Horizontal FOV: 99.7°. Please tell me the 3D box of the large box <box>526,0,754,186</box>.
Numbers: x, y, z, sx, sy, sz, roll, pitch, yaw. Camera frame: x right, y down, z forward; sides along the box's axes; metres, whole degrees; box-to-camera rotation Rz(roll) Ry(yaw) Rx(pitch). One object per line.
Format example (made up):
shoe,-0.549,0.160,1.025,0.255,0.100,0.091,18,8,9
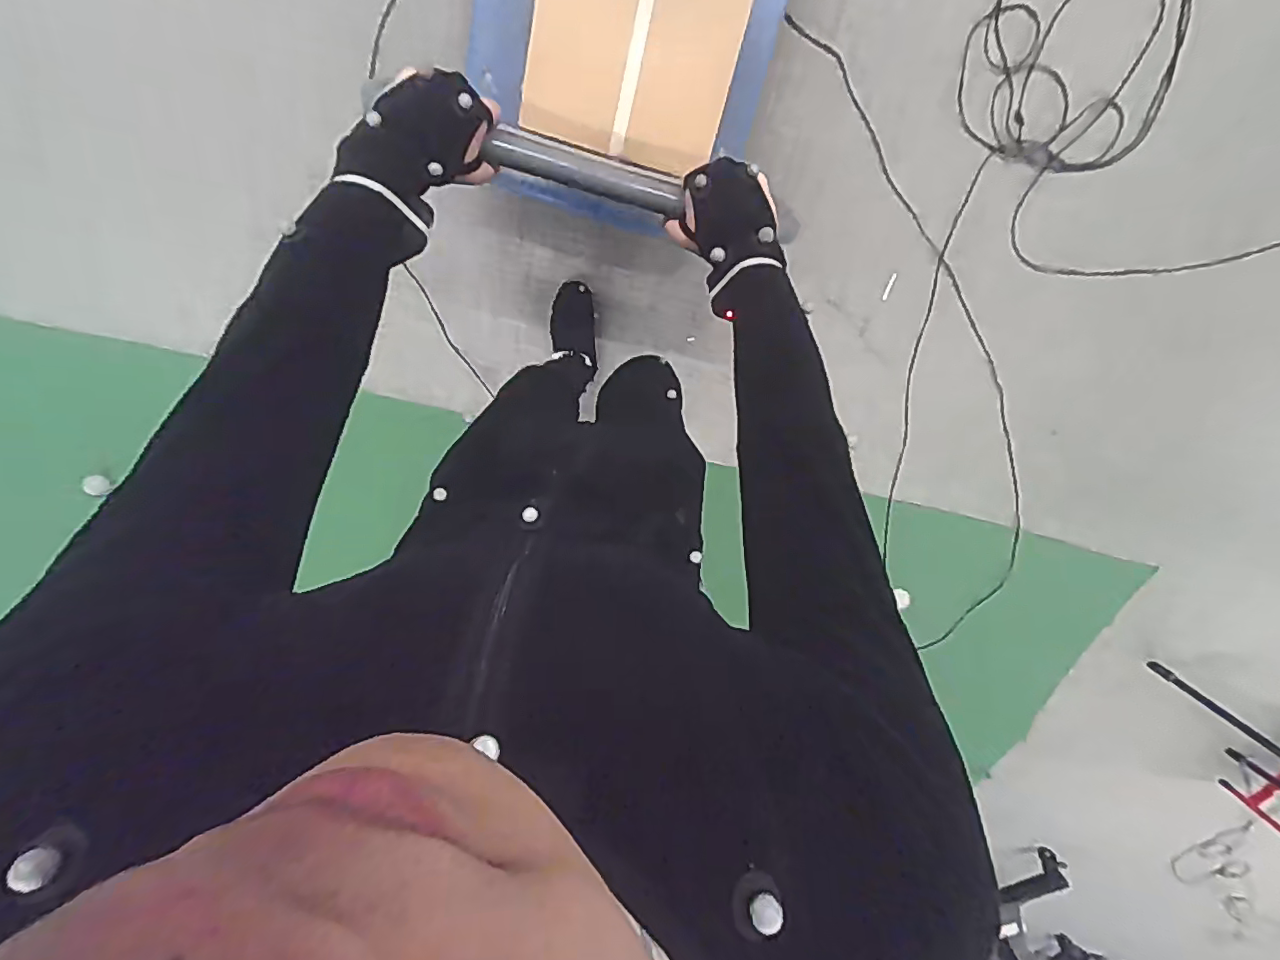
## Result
large box,0.003,-0.775,0.937,0.320,0.320,0.408,12,115,-10
